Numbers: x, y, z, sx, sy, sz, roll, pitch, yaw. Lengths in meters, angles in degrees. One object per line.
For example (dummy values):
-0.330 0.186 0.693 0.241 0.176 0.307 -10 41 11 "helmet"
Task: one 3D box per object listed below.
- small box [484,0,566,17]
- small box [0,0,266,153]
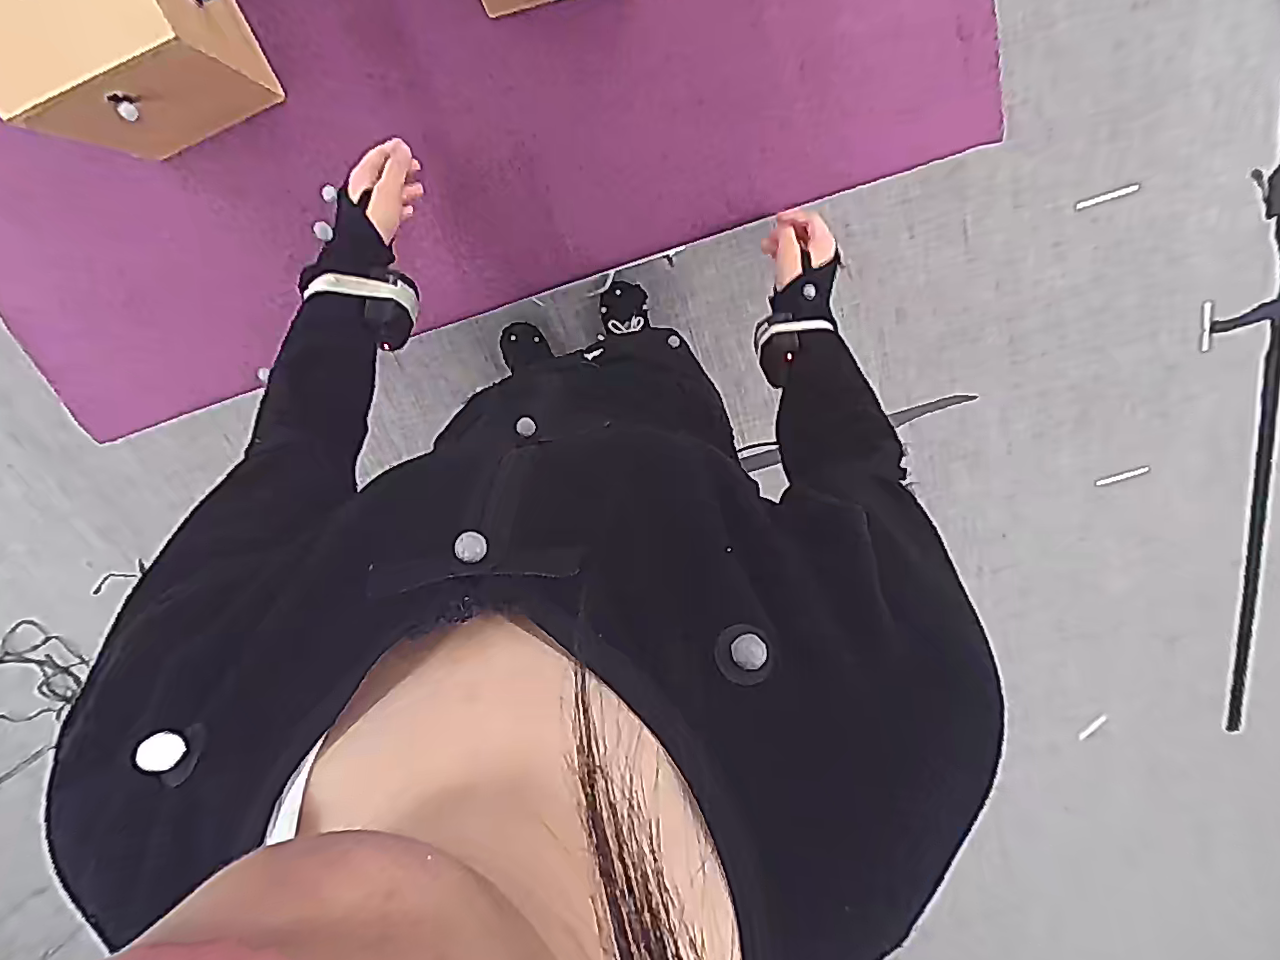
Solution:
-0.100 -0.561 0.472 0.168 0.176 0.179 -13 112 2 "small box"
-0.494 -0.434 0.500 0.179 0.176 0.168 -21 111 5 "small box"
